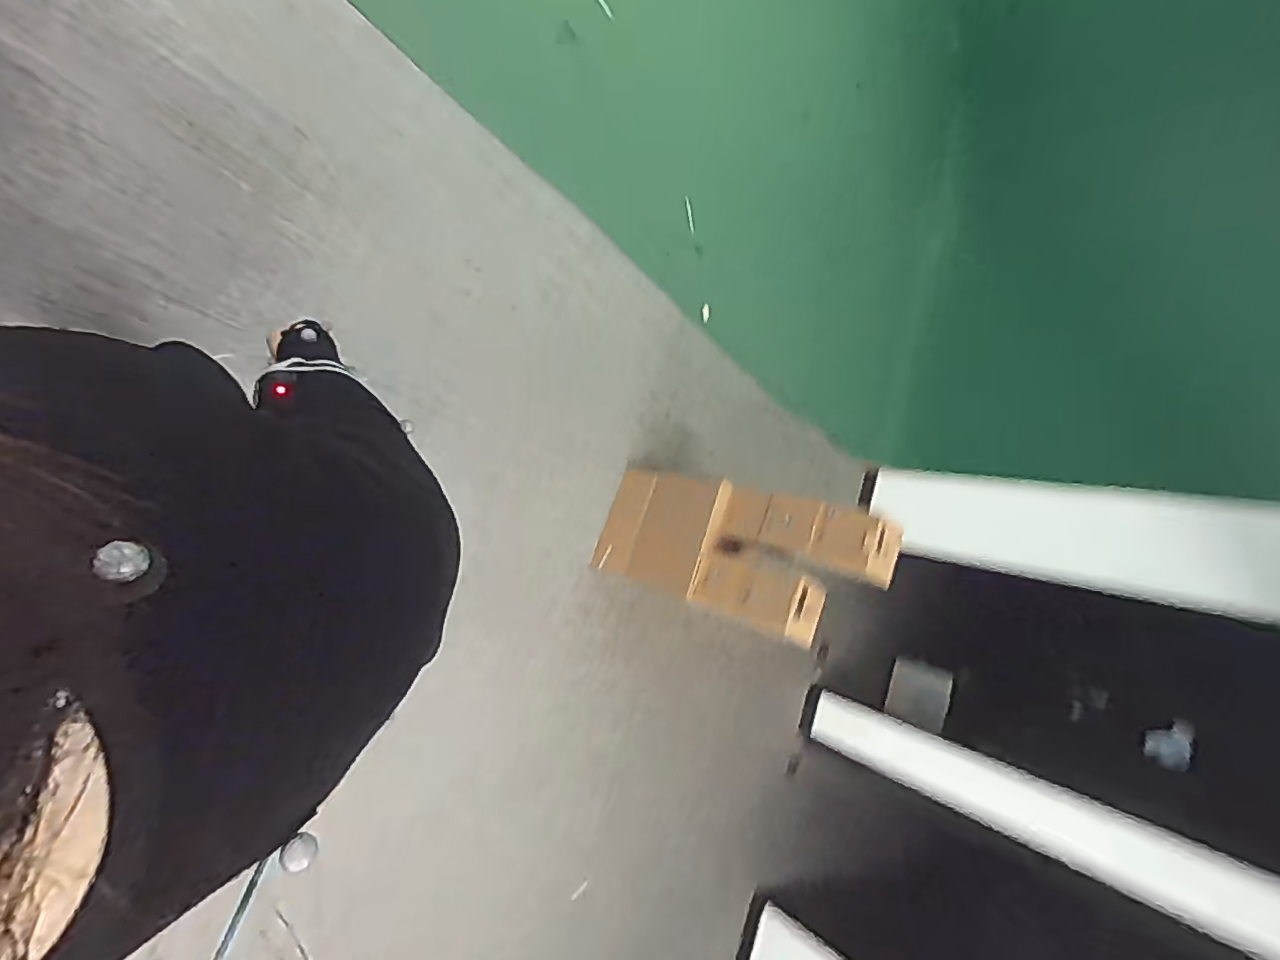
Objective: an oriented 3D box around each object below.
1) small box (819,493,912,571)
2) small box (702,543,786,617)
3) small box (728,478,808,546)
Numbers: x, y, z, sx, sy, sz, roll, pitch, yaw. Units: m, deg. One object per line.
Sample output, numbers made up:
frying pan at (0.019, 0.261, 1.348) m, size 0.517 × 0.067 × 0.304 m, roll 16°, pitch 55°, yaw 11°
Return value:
small box at (0.629, 0.141, 1.516) m, size 0.179 × 0.176 × 0.168 m, roll 26°, pitch 81°, yaw -43°
small box at (0.330, 0.312, 1.712) m, size 0.179 × 0.176 × 0.168 m, roll 35°, pitch 72°, yaw -40°
small box at (0.413, 0.099, 1.760) m, size 0.179 × 0.176 × 0.168 m, roll 28°, pitch 79°, yaw -41°
